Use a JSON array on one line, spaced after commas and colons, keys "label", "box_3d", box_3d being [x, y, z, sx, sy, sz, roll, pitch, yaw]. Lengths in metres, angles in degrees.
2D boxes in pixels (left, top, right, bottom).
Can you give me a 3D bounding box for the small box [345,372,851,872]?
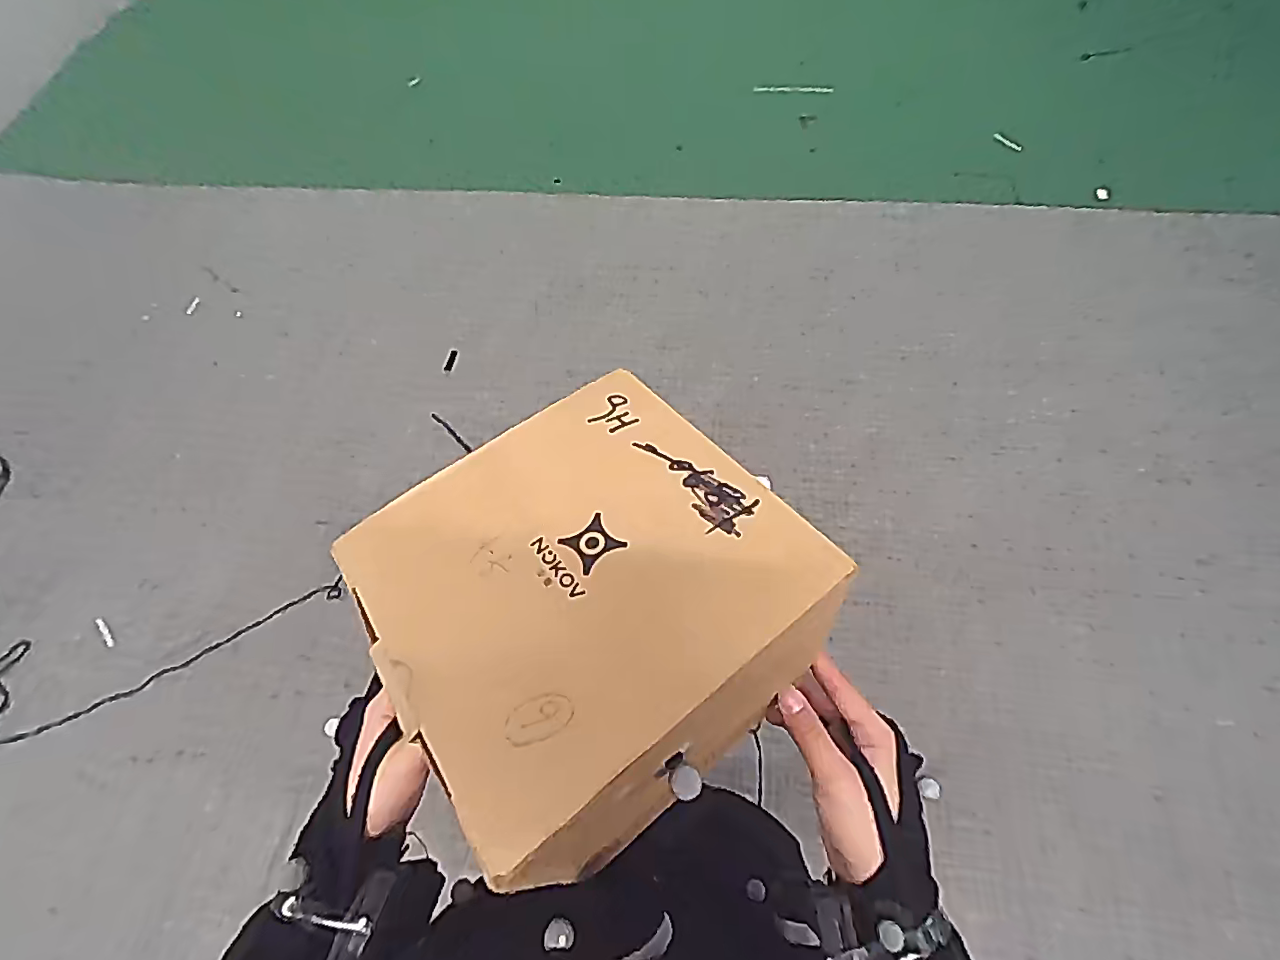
[{"label": "small box", "box_3d": [-0.016, 0.081, 0.303, 0.179, 0.176, 0.168, -35, 57, -17]}]
